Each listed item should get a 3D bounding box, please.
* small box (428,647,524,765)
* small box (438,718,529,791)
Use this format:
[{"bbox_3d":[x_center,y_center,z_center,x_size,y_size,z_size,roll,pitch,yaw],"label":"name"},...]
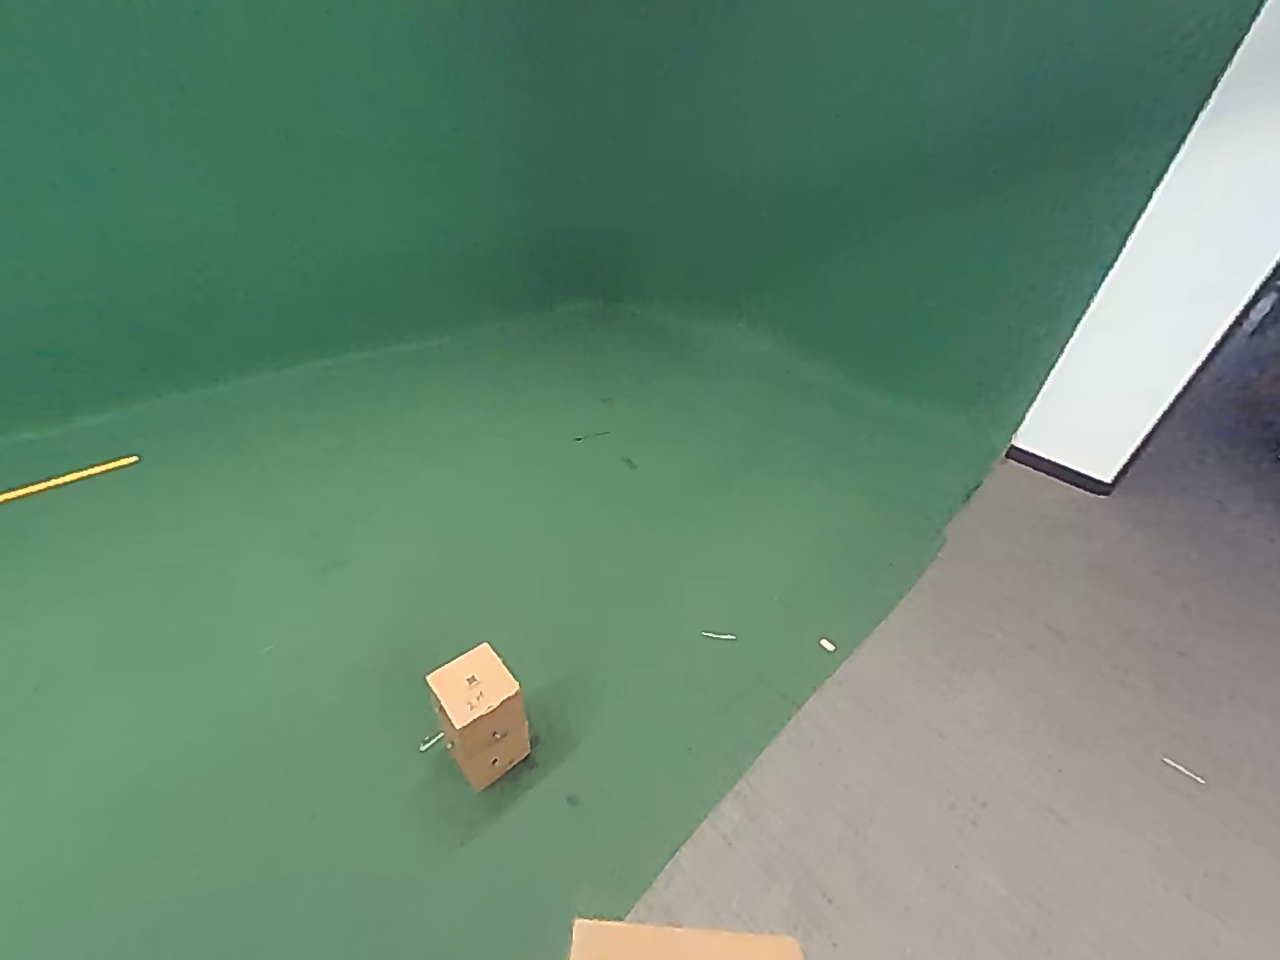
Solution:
[{"bbox_3d":[-0.404,0.561,1.345,0.168,0.176,0.179,-25,46,-33],"label":"small box"},{"bbox_3d":[-0.411,0.693,1.446,0.168,0.176,0.179,-28,47,-35],"label":"small box"}]
